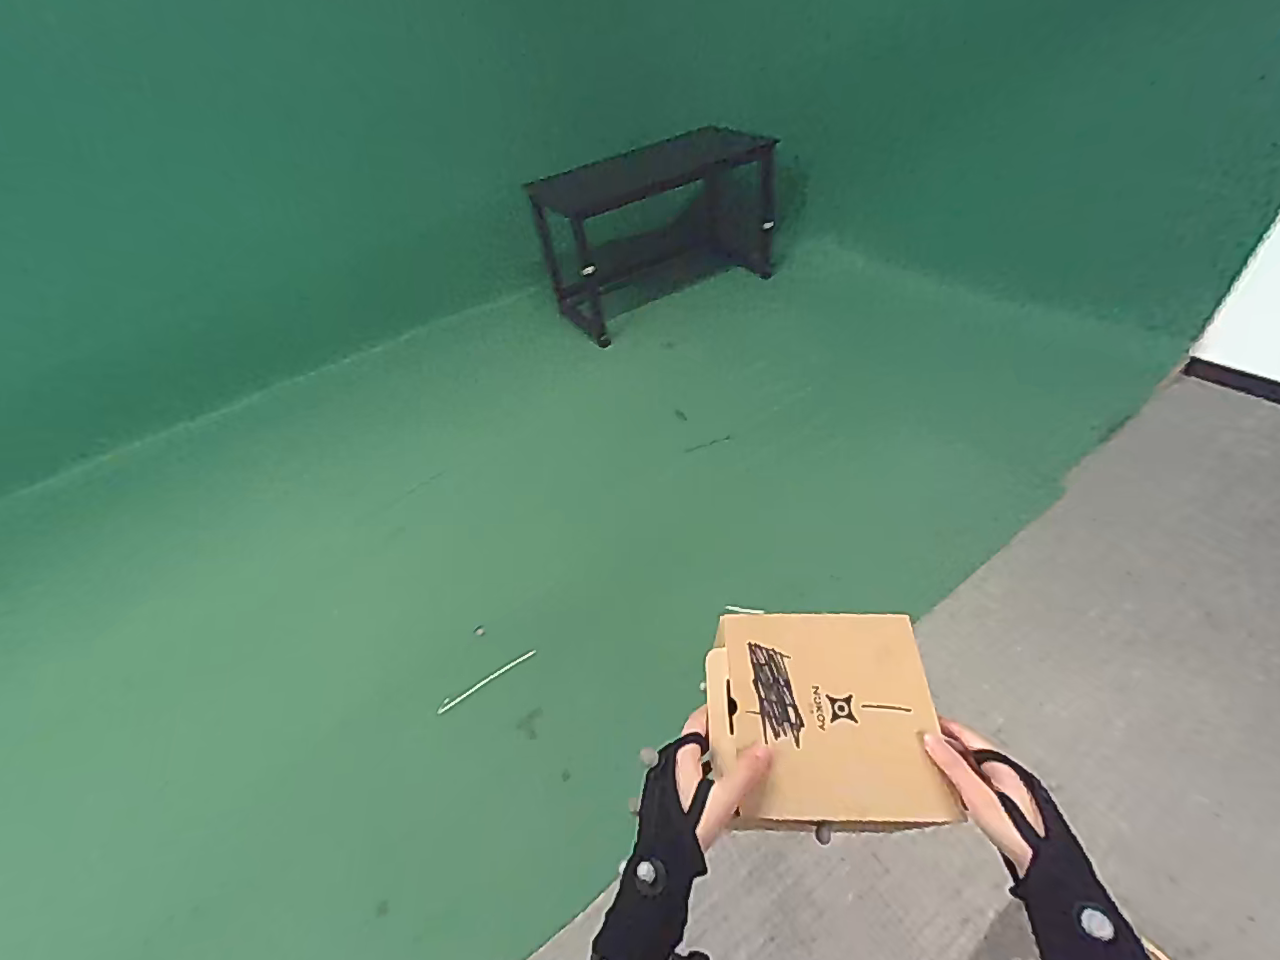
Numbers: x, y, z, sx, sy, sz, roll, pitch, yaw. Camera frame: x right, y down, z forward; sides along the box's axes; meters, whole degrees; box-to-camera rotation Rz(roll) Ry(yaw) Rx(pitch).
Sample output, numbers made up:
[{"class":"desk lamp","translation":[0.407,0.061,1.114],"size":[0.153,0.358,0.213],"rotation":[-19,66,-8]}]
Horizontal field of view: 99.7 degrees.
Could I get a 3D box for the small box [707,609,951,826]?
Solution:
[{"class":"small box","translation":[0.158,0.236,0.529],"size":[0.179,0.176,0.168],"rotation":[0,55,1]}]
